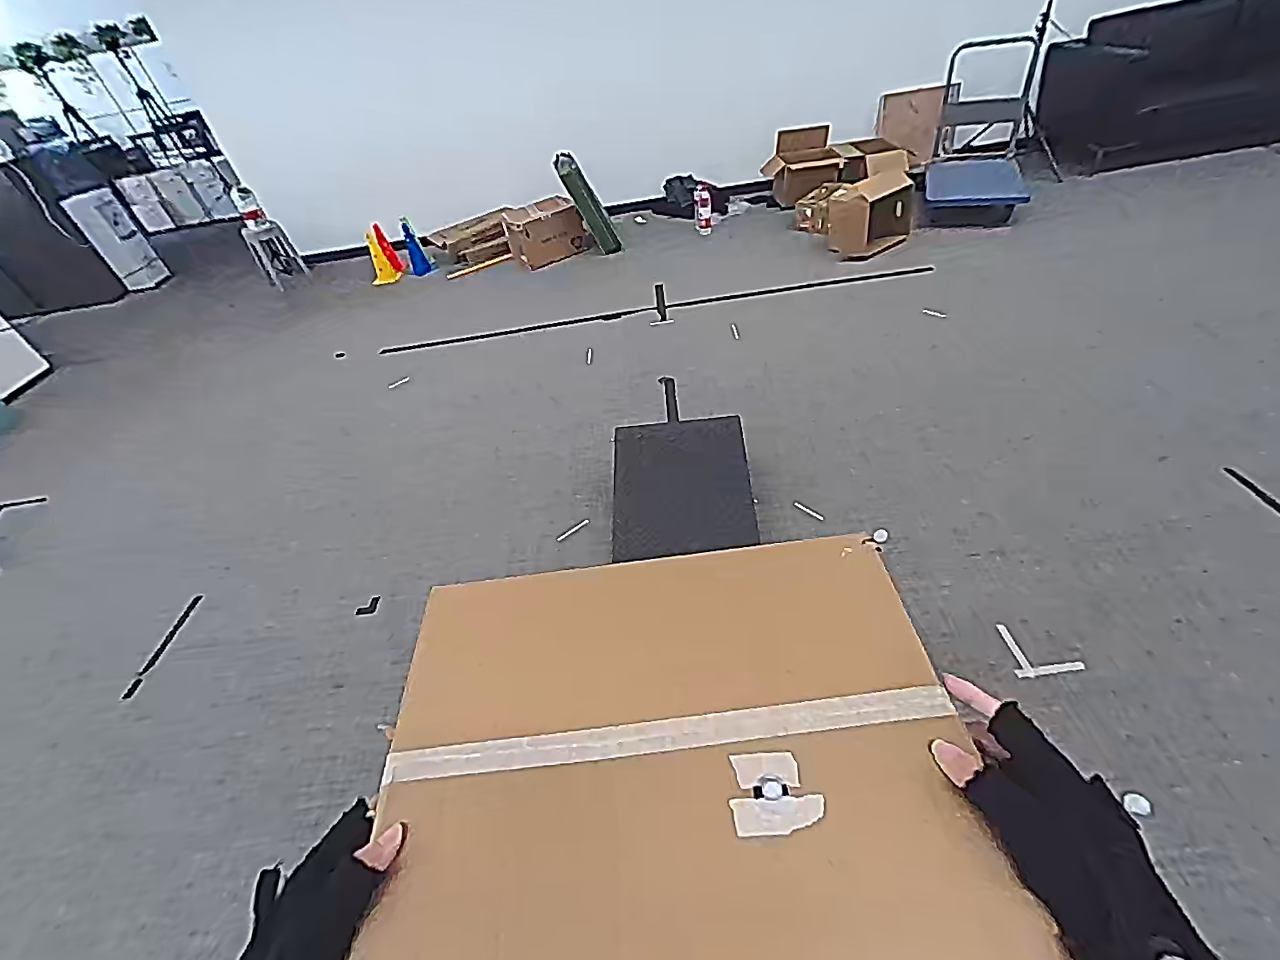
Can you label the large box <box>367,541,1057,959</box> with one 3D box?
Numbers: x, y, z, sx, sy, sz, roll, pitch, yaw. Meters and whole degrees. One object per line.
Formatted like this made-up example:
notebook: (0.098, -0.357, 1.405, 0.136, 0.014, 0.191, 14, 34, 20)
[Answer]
large box: (0.037, 0.295, 0.505, 0.408, 0.320, 0.320, -7, 45, 2)
